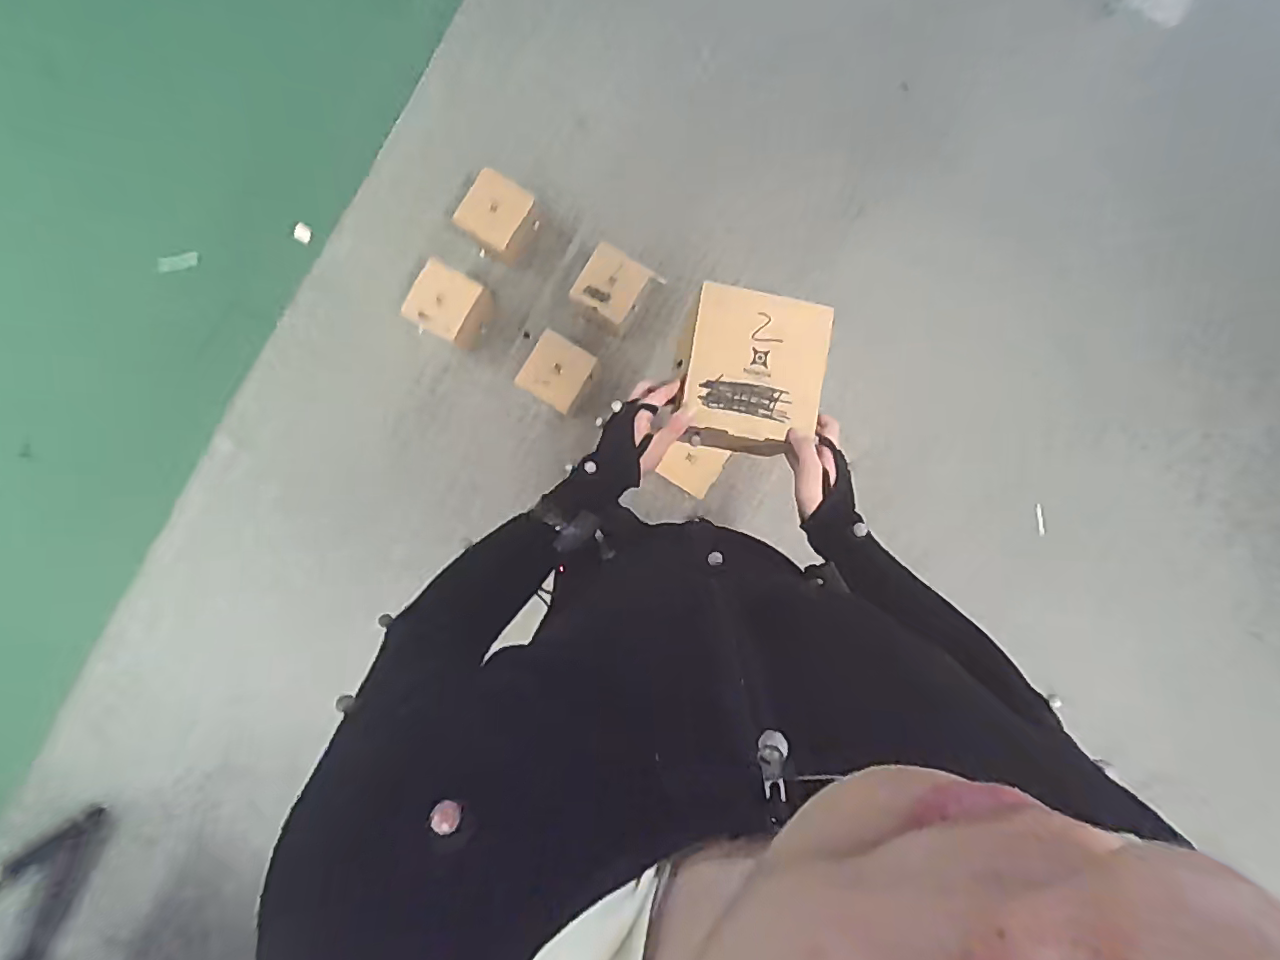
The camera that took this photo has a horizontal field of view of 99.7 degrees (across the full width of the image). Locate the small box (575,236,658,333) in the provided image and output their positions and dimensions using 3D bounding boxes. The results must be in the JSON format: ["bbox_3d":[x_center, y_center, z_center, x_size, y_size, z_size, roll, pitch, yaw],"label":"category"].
[{"bbox_3d":[-0.062,-0.547,1.541,0.168,0.176,0.179,33,90,-1],"label":"small box"}]

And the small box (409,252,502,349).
[{"bbox_3d":[-0.514,-0.503,1.541,0.168,0.176,0.179,31,90,0],"label":"small box"}]

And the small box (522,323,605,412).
[{"bbox_3d":[-0.211,-0.313,1.546,0.168,0.176,0.179,32,91,-1],"label":"small box"}]

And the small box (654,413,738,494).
[{"bbox_3d":[0.151,-0.073,1.555,0.179,0.176,0.168,33,91,-2],"label":"small box"}]
